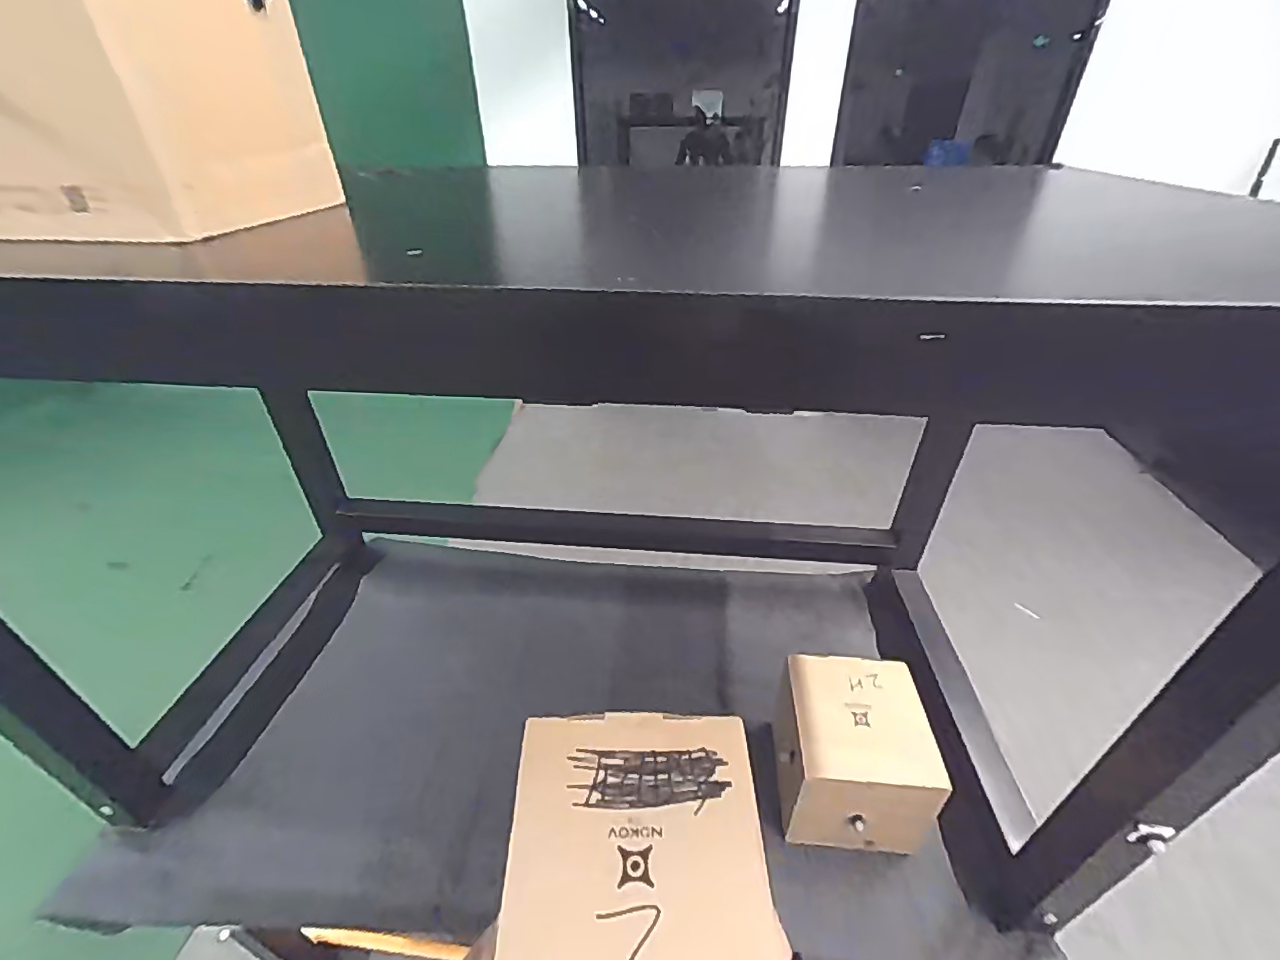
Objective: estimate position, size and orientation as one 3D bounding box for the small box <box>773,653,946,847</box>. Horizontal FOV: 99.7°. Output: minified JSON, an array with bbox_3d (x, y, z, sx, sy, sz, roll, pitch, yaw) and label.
[{"bbox_3d":[0.280,0.364,0.735,0.168,0.176,0.179,3,33,5],"label":"small box"}]

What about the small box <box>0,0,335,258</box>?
[{"bbox_3d":[-0.342,-0.252,0.360,0.168,0.176,0.179,3,34,5],"label":"small box"}]
